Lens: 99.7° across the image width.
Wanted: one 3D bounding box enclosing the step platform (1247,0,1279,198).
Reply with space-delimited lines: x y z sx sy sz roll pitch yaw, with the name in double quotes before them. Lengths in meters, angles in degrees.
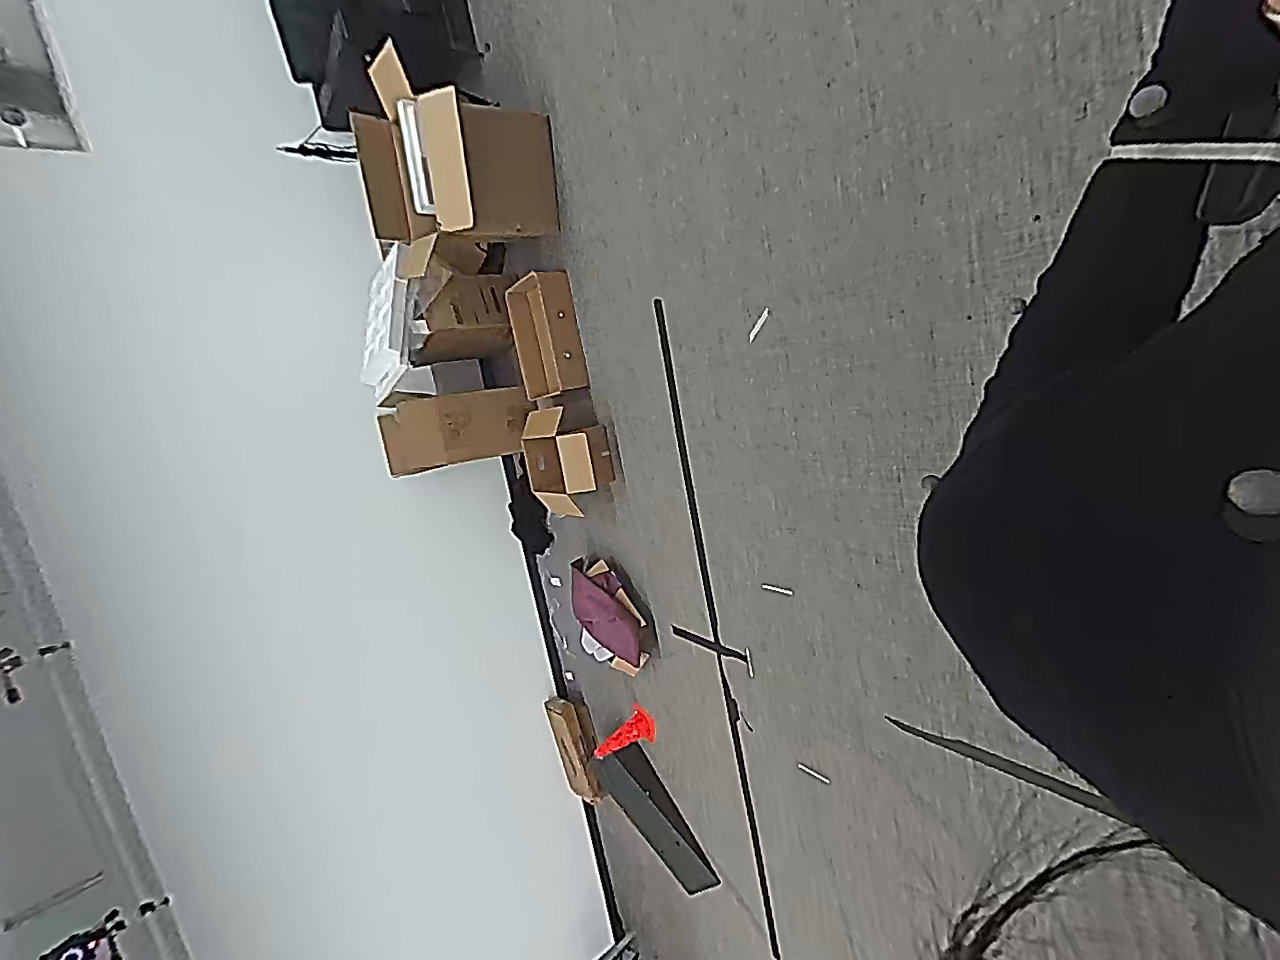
"step platform" 1.052 -0.518 0.472 0.684 0.204 0.286 0 104 54
